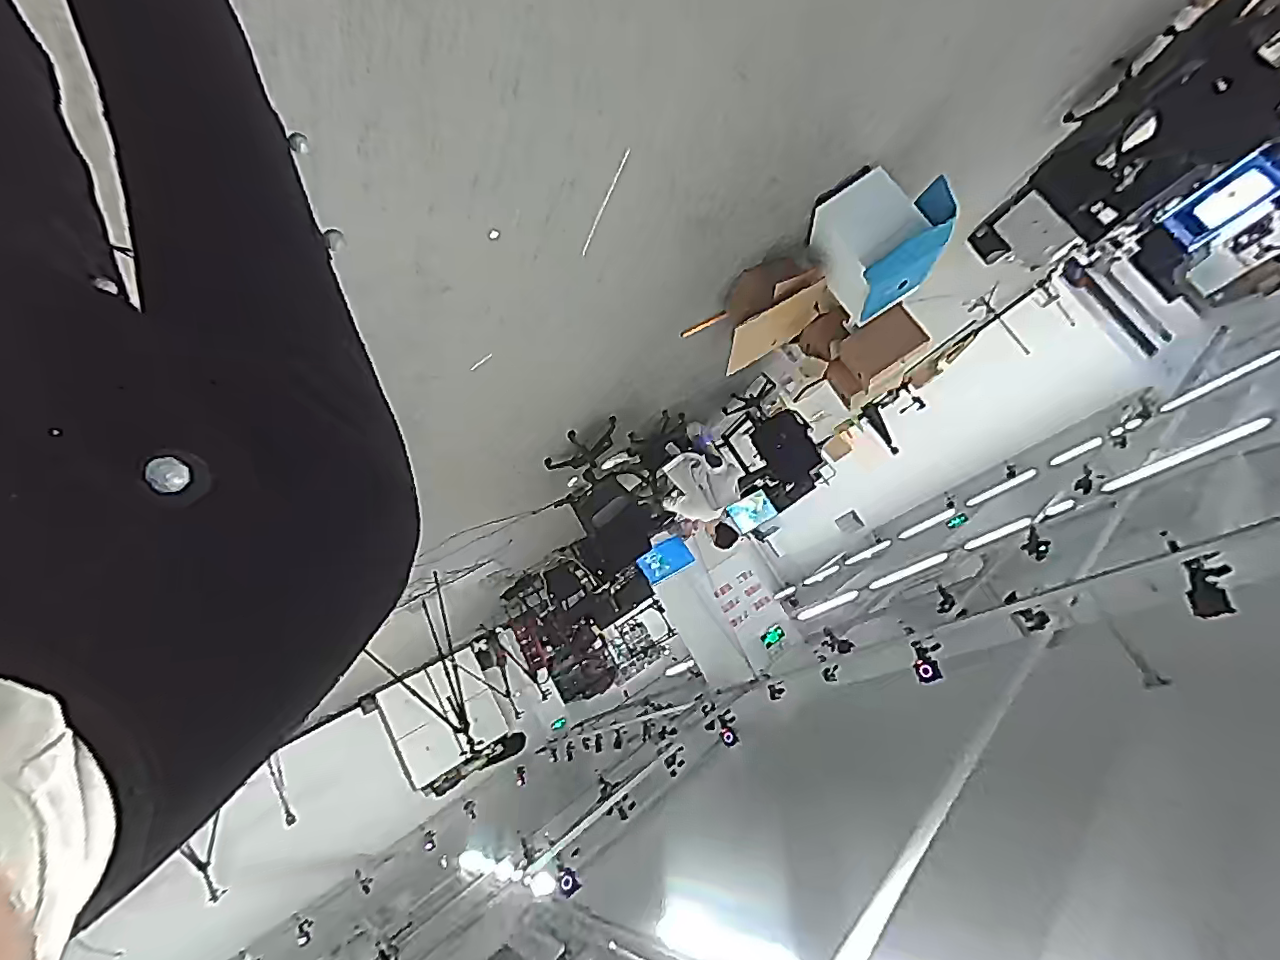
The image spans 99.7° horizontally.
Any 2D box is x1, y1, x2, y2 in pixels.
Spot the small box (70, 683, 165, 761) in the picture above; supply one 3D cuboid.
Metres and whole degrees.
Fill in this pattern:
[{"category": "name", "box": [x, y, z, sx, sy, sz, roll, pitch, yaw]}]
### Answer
[{"category": "small box", "box": [-1.696, 0.786, 1.759, 0.168, 0.176, 0.179, -23, 164, -36]}]
